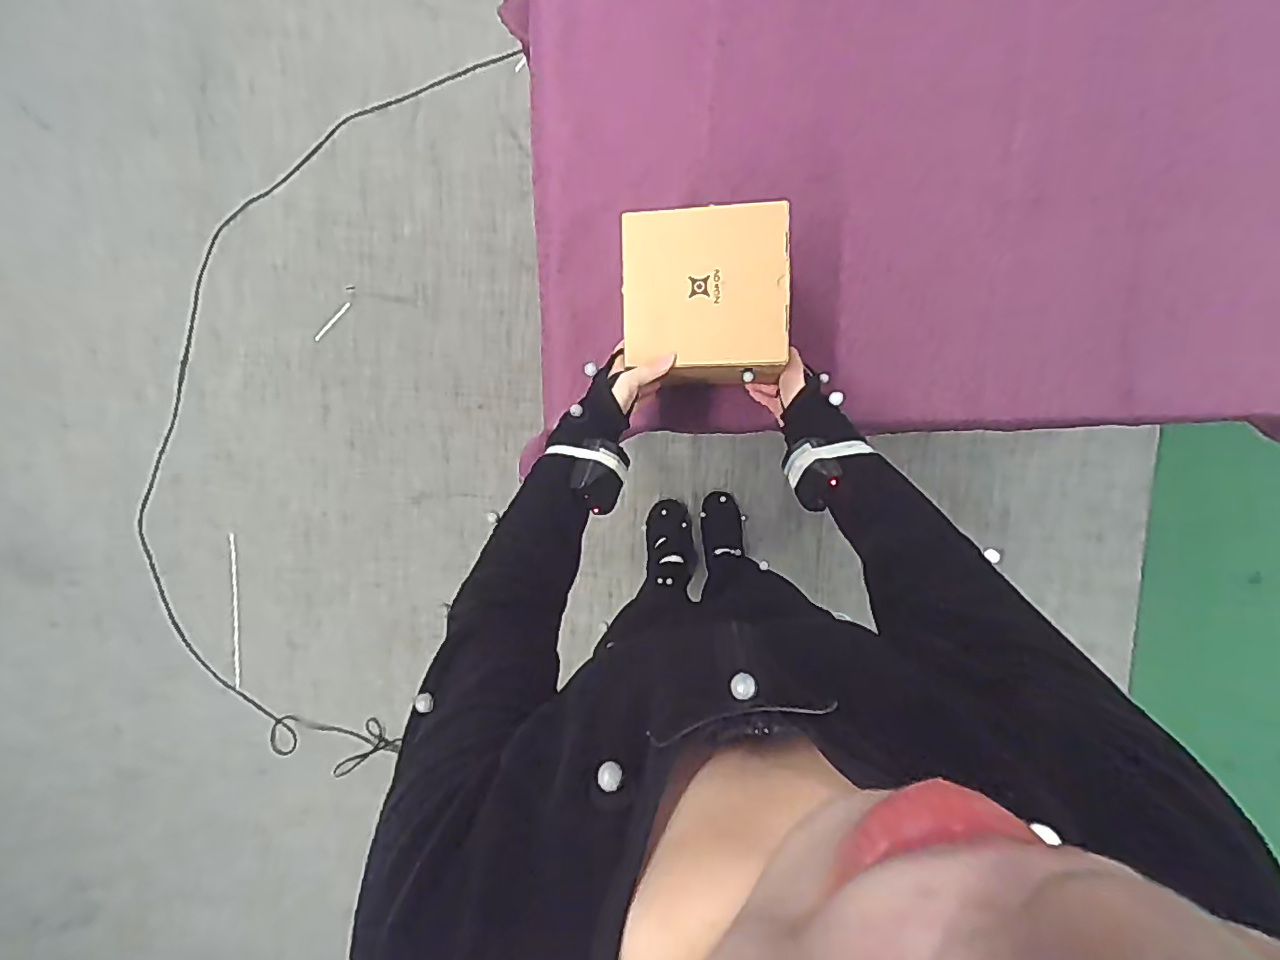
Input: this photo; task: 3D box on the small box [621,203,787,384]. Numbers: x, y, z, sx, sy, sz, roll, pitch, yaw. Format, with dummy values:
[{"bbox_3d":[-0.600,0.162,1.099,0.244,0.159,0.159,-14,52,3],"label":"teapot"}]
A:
[{"bbox_3d":[0.077,-0.209,0.651,0.179,0.176,0.168,0,94,8],"label":"small box"}]
